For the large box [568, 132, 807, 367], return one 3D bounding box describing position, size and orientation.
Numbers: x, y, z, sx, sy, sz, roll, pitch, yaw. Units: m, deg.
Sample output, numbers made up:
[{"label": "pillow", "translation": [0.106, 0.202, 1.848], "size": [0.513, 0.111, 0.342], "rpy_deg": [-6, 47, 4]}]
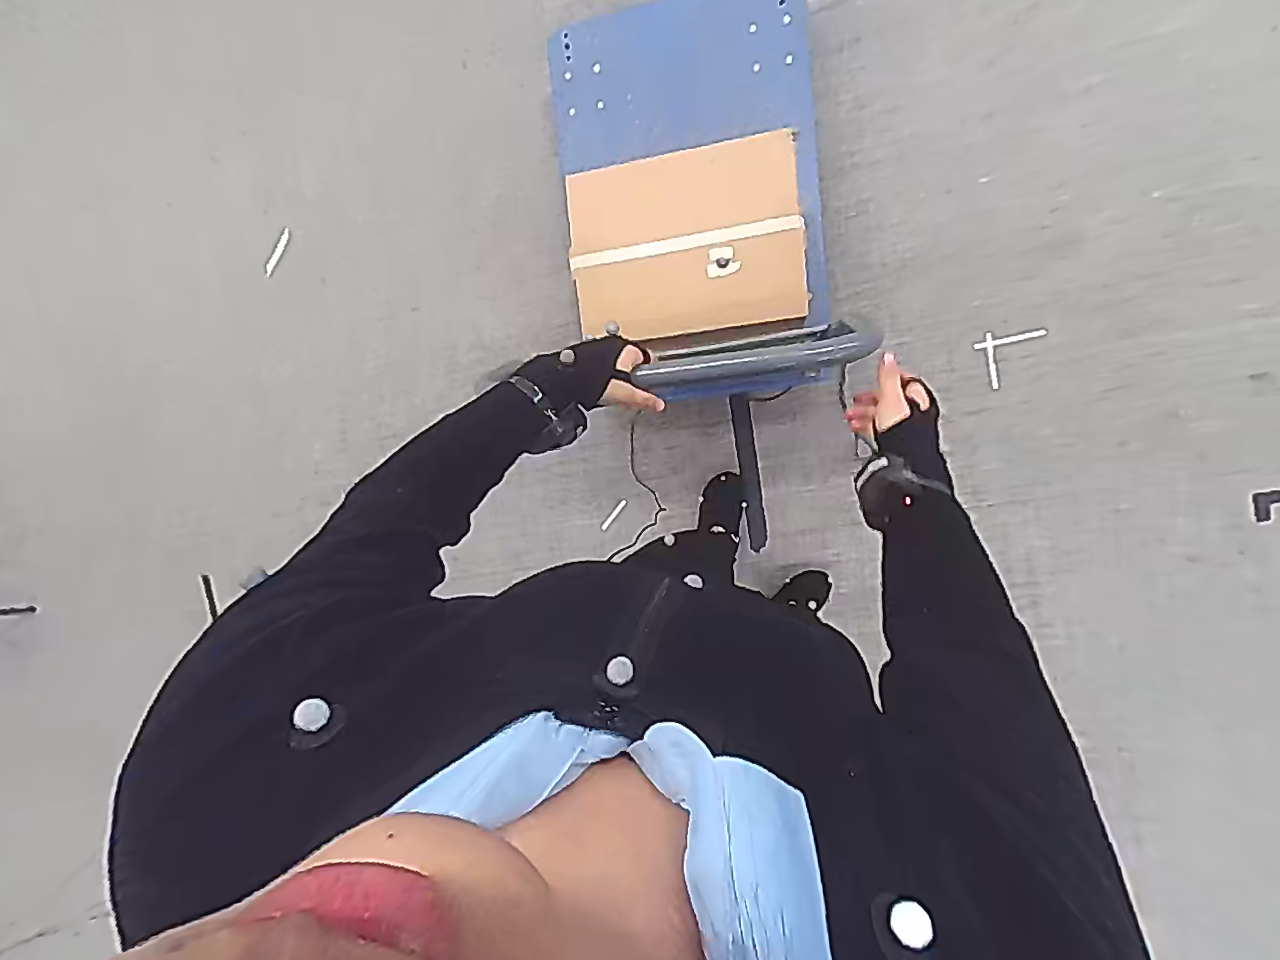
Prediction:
[{"label": "large box", "translation": [0.105, -0.429, 1.107], "size": [0.408, 0.320, 0.320], "rpy_deg": [-6, 95, 11]}]
